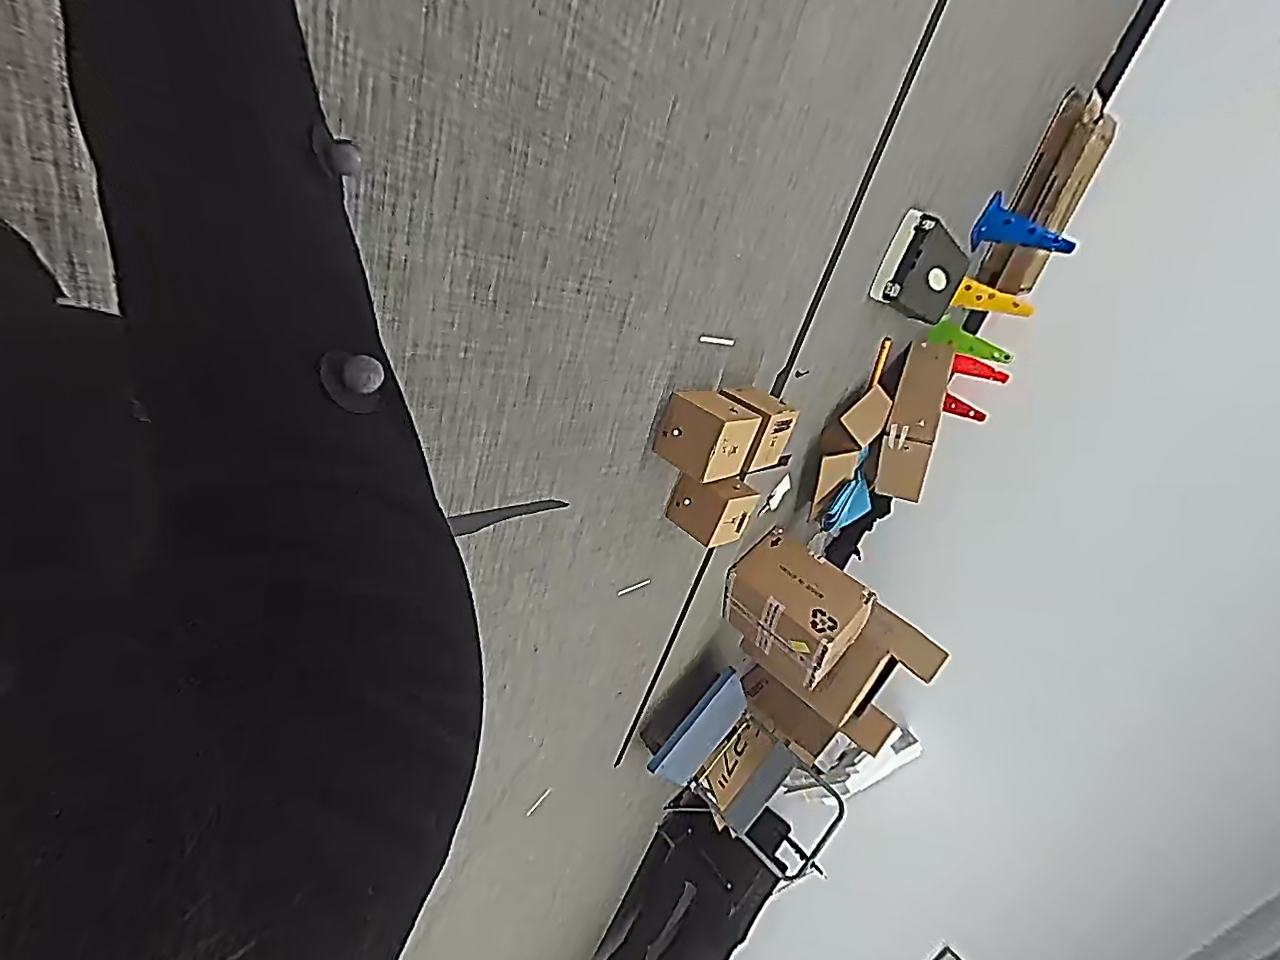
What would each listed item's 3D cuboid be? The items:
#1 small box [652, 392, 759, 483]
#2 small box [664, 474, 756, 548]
[{"bbox_3d":[0.162,-0.114,1.358,0.179,0.176,0.168,-12,128,-48],"label":"small box"},{"bbox_3d":[0.205,0.075,1.599,0.179,0.176,0.168,-7,125,-50],"label":"small box"}]
